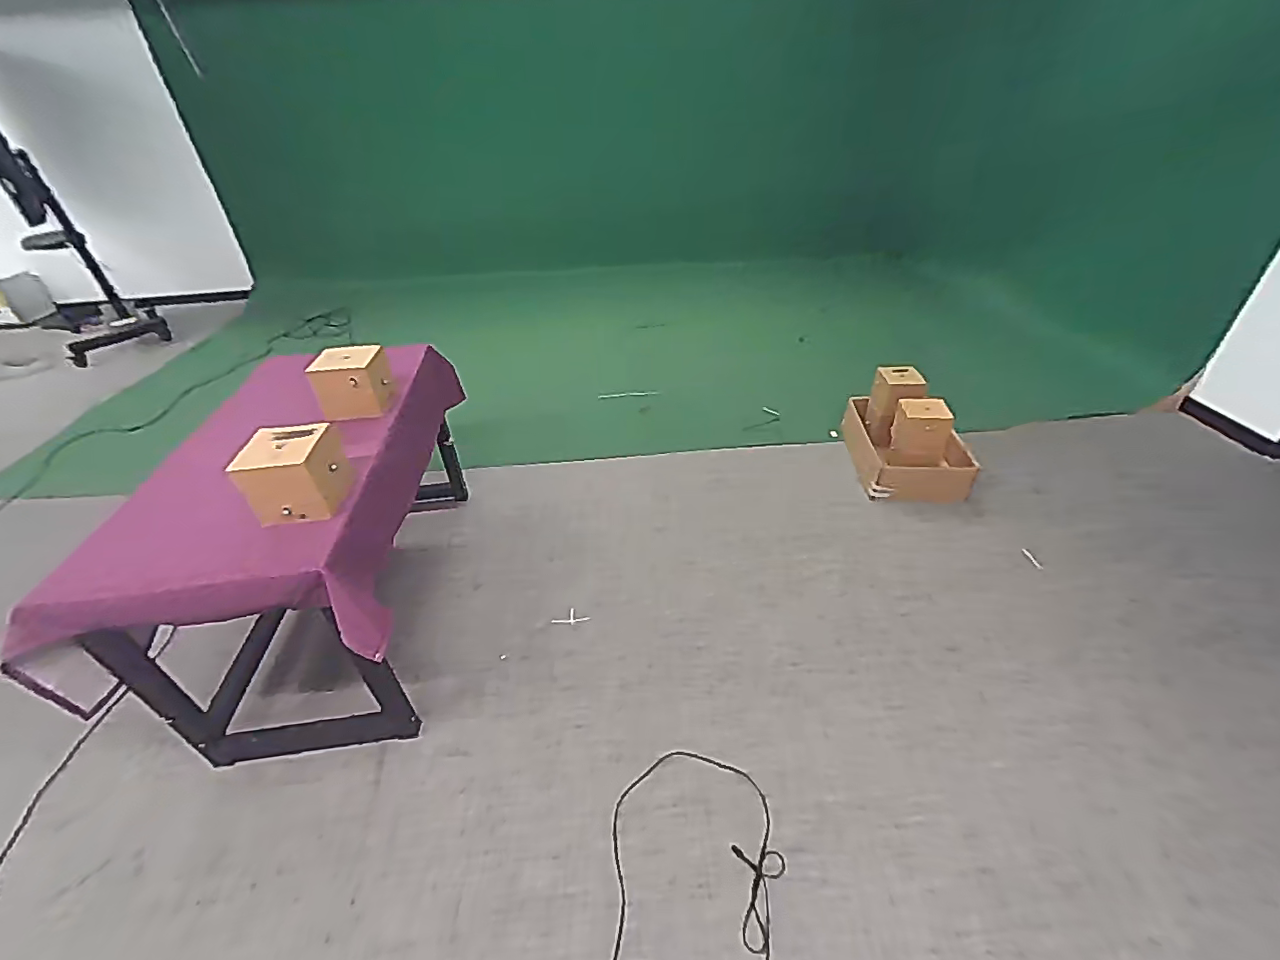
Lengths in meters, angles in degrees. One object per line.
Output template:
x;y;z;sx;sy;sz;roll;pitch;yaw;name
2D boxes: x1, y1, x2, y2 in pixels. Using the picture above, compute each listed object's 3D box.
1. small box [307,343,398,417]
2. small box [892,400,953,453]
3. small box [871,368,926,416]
-0.871;-0.307;1.663;0.179;0.176;0.168;-4;37;-2;small box
1.188;-0.225;2.284;0.179;0.176;0.168;2;37;10;small box
1.198;-0.410;2.521;0.168;0.176;0.179;1;38;4;small box
